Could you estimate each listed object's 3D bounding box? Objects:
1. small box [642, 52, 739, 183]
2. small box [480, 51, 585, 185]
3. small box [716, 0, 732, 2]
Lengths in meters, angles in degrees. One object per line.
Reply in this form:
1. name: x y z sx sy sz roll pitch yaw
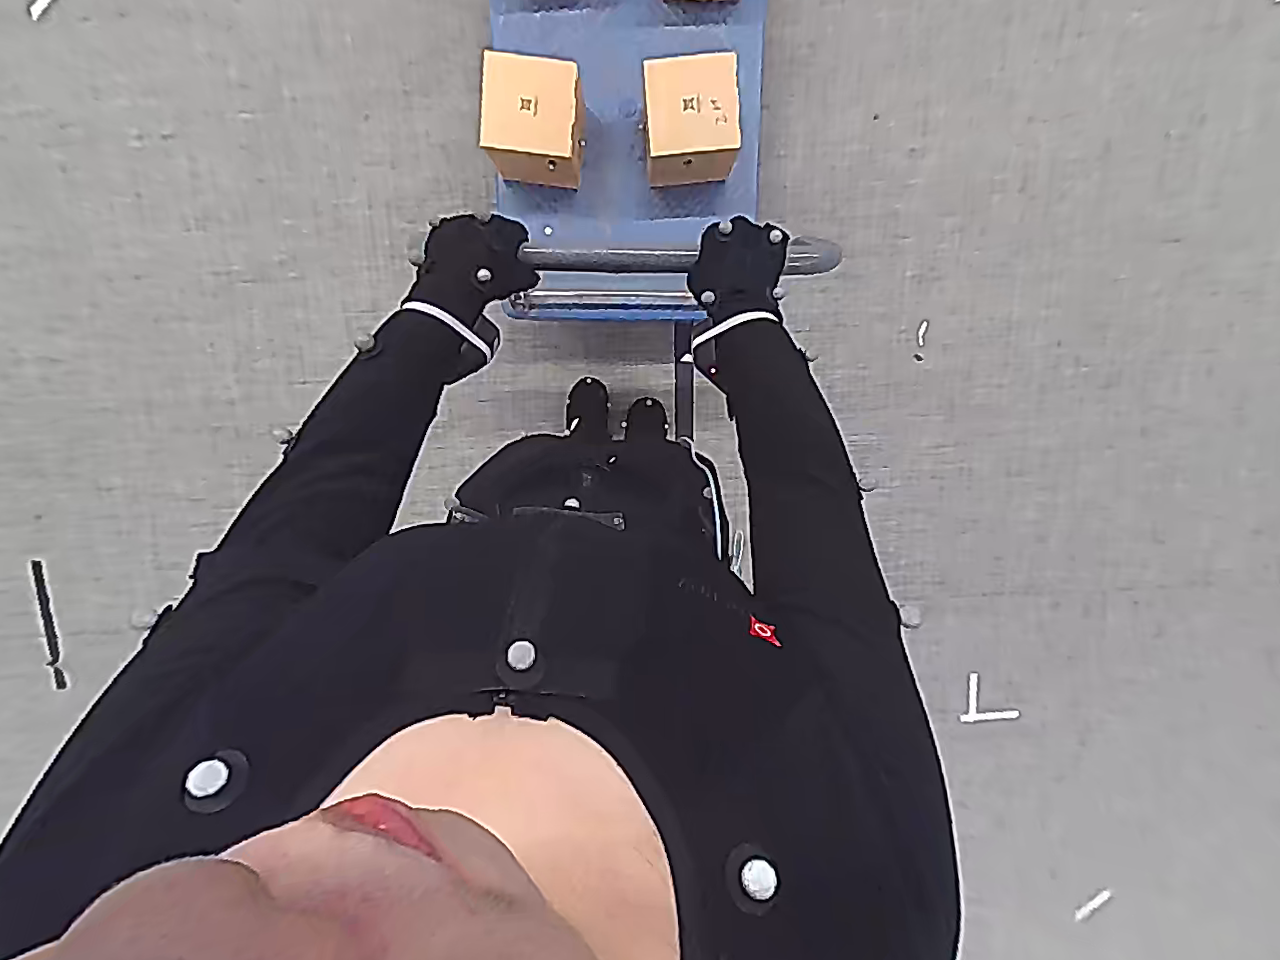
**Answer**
1. small box: 0.097 -0.720 1.093 0.179 0.176 0.168 -5 101 1
2. small box: -0.210 -0.719 1.092 0.179 0.176 0.168 5 100 -3
3. small box: 0.128 -1.067 1.027 0.168 0.176 0.179 1 102 0
